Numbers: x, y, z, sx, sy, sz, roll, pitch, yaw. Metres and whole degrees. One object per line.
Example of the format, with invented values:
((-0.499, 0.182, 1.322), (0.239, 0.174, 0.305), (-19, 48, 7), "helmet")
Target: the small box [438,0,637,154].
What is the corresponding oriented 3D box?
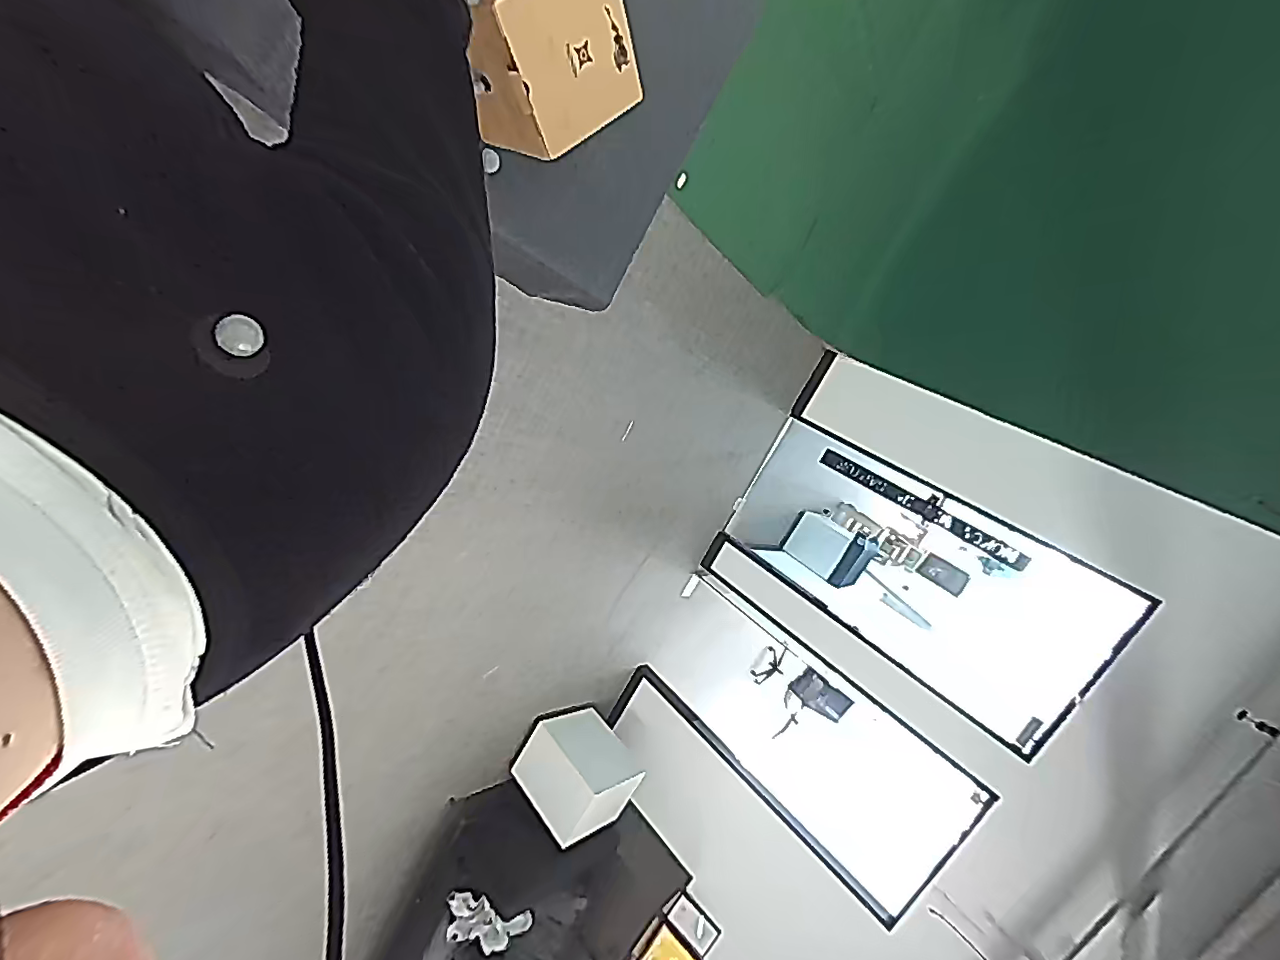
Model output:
((-0.136, -0.561, 0.706), (0.179, 0.176, 0.168), (-41, 145, -15), "small box")
